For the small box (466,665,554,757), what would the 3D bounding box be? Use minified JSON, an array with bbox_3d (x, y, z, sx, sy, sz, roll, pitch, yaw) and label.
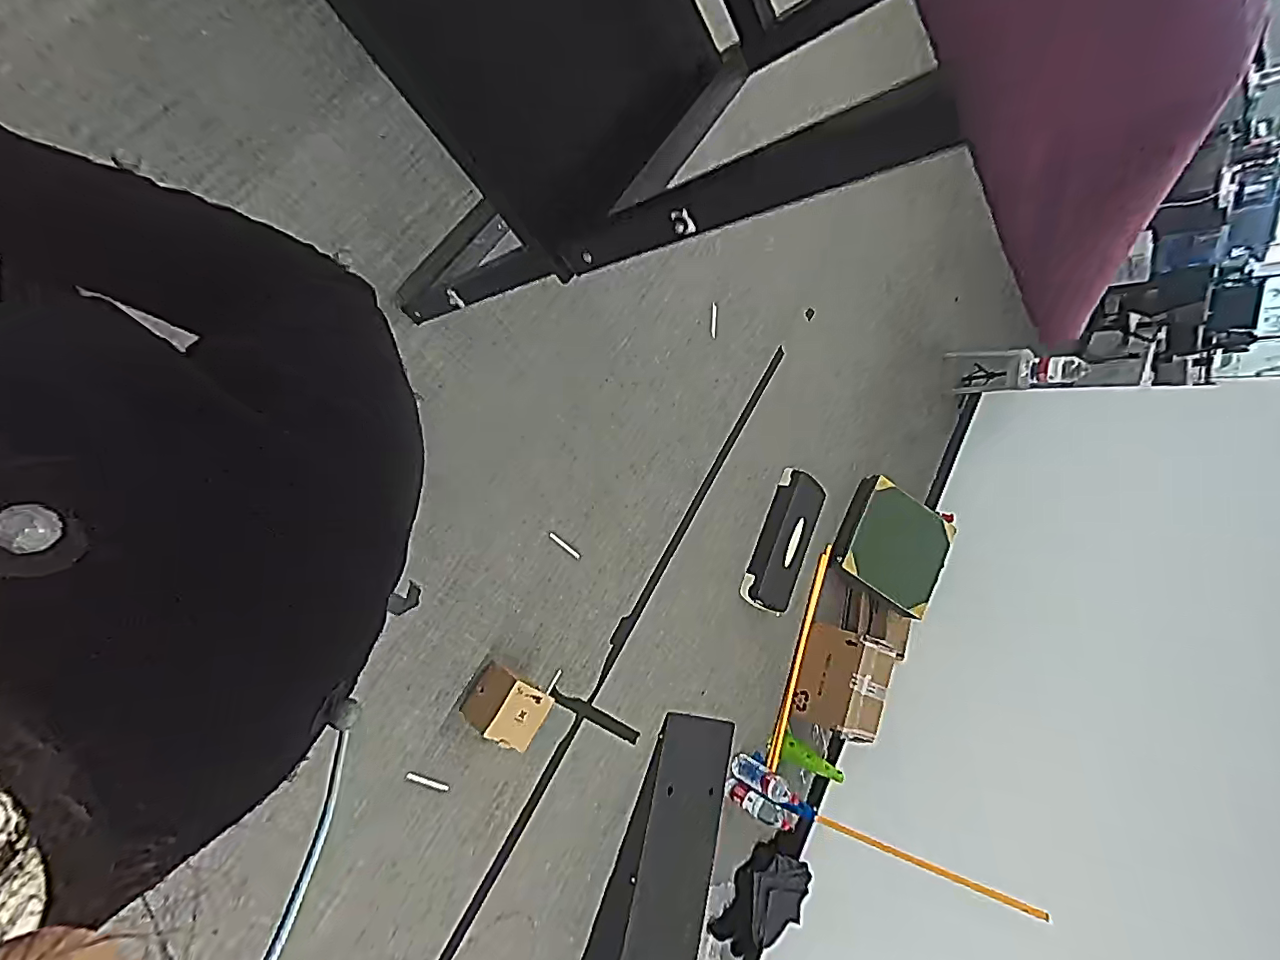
[{"bbox_3d":[-0.401,0.696,1.640,0.168,0.176,0.179,46,68,-35],"label":"small box"}]
